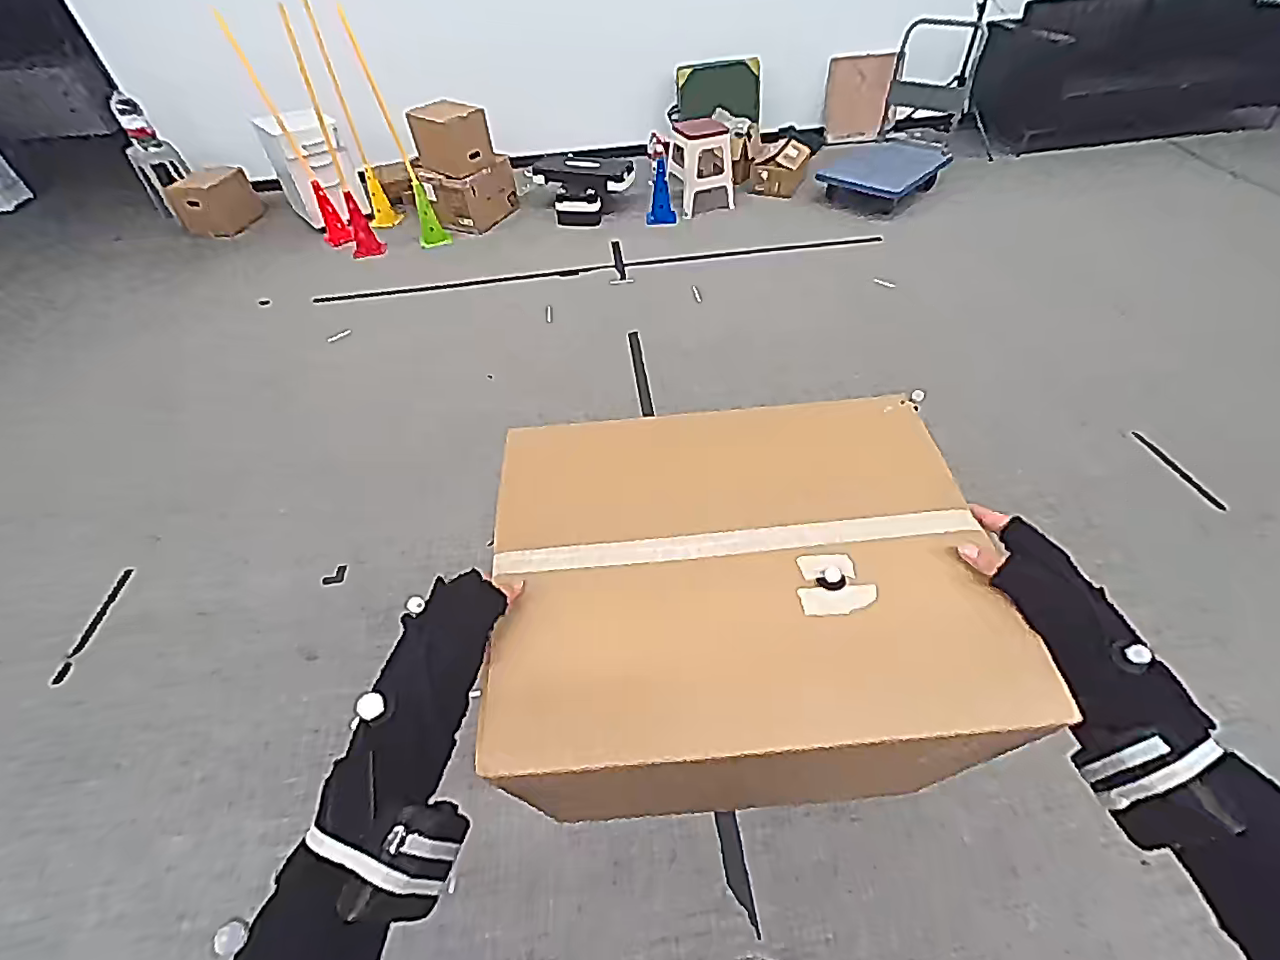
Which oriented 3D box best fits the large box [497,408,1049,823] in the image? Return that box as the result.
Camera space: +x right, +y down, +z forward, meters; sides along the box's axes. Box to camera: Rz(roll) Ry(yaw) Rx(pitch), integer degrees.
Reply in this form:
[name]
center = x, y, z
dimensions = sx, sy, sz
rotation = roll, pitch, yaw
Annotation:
[large box]
center = 0.088, 0.154, 0.586
dimensions = 0.408, 0.320, 0.320
rotation = -5, 52, -1
